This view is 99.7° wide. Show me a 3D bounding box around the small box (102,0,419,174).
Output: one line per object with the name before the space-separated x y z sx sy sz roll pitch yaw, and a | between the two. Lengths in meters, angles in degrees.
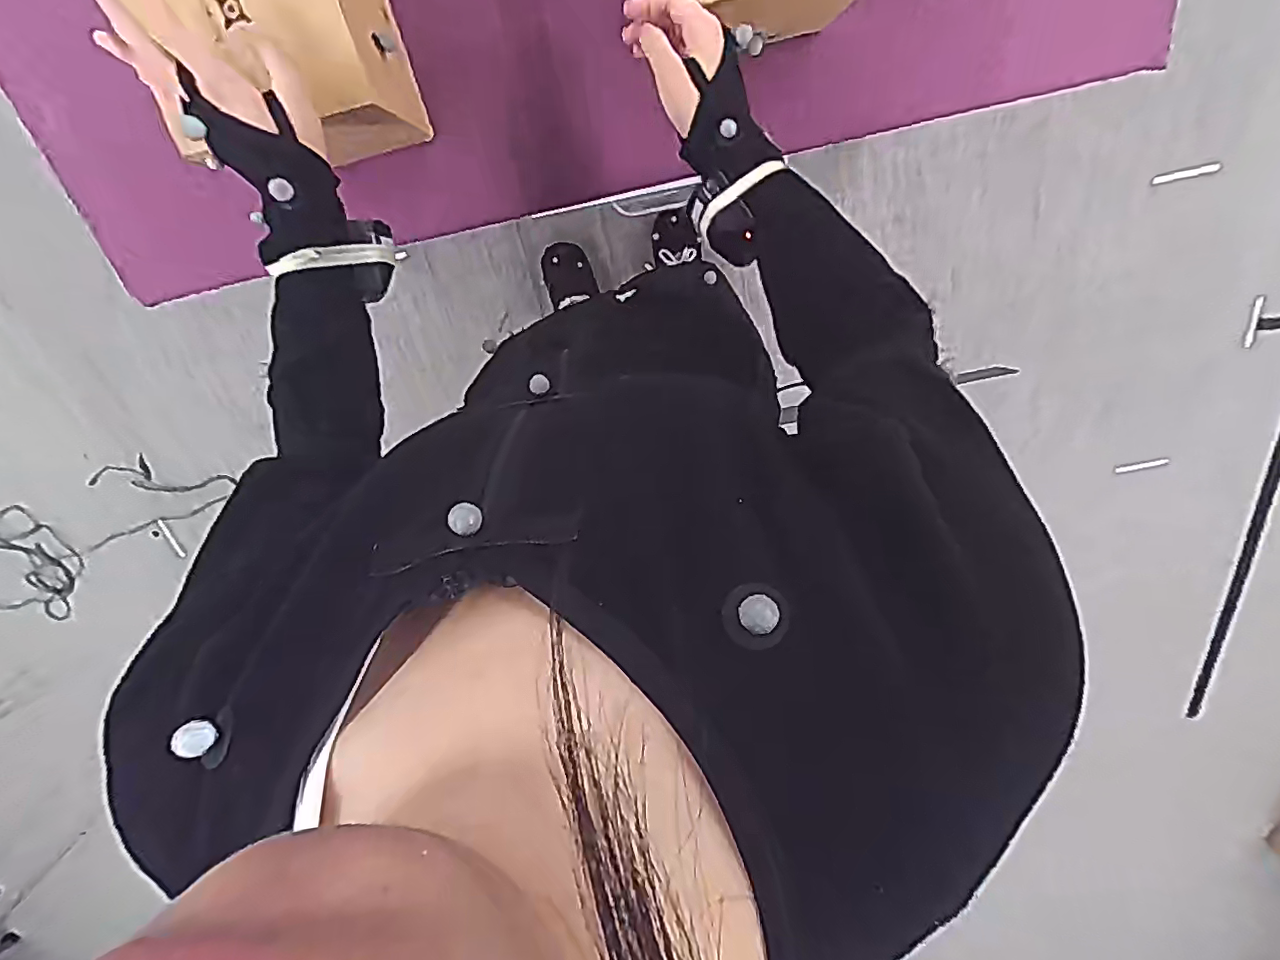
small box | -0.325 -0.396 0.493 0.179 0.176 0.168 -13 114 4

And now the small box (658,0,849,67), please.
small box | 0.096 -0.496 0.462 0.168 0.176 0.179 -12 115 2
